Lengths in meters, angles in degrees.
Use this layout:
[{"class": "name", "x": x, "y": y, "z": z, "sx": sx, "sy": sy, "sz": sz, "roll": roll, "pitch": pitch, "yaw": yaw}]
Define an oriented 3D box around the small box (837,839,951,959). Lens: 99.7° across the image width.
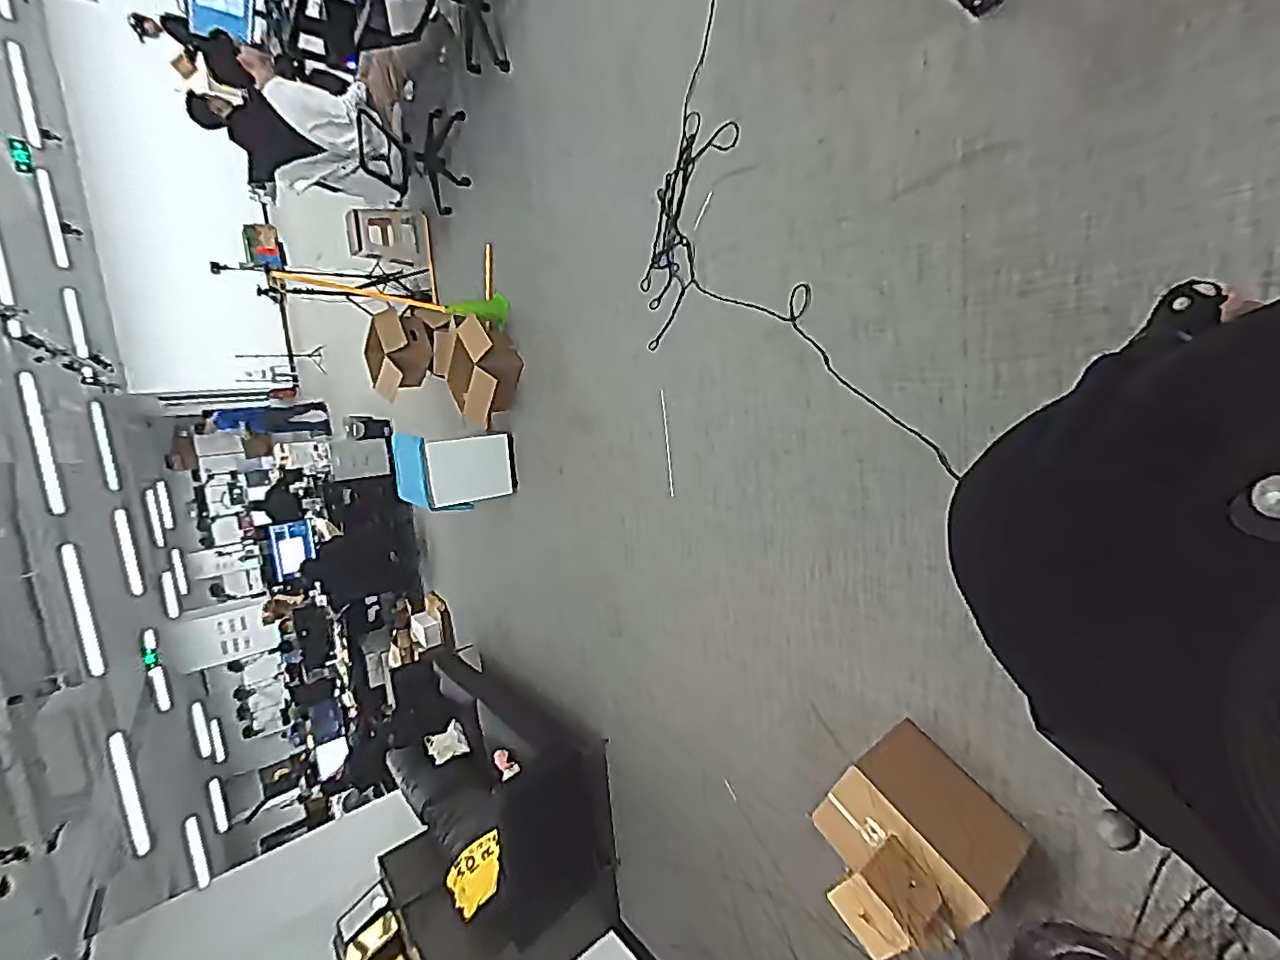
[{"class": "small box", "x": 0.645, "y": 1.061, "z": 1.371, "sx": 0.168, "sy": 0.176, "sz": 0.179, "roll": 47, "pitch": 134, "yaw": 35}]
